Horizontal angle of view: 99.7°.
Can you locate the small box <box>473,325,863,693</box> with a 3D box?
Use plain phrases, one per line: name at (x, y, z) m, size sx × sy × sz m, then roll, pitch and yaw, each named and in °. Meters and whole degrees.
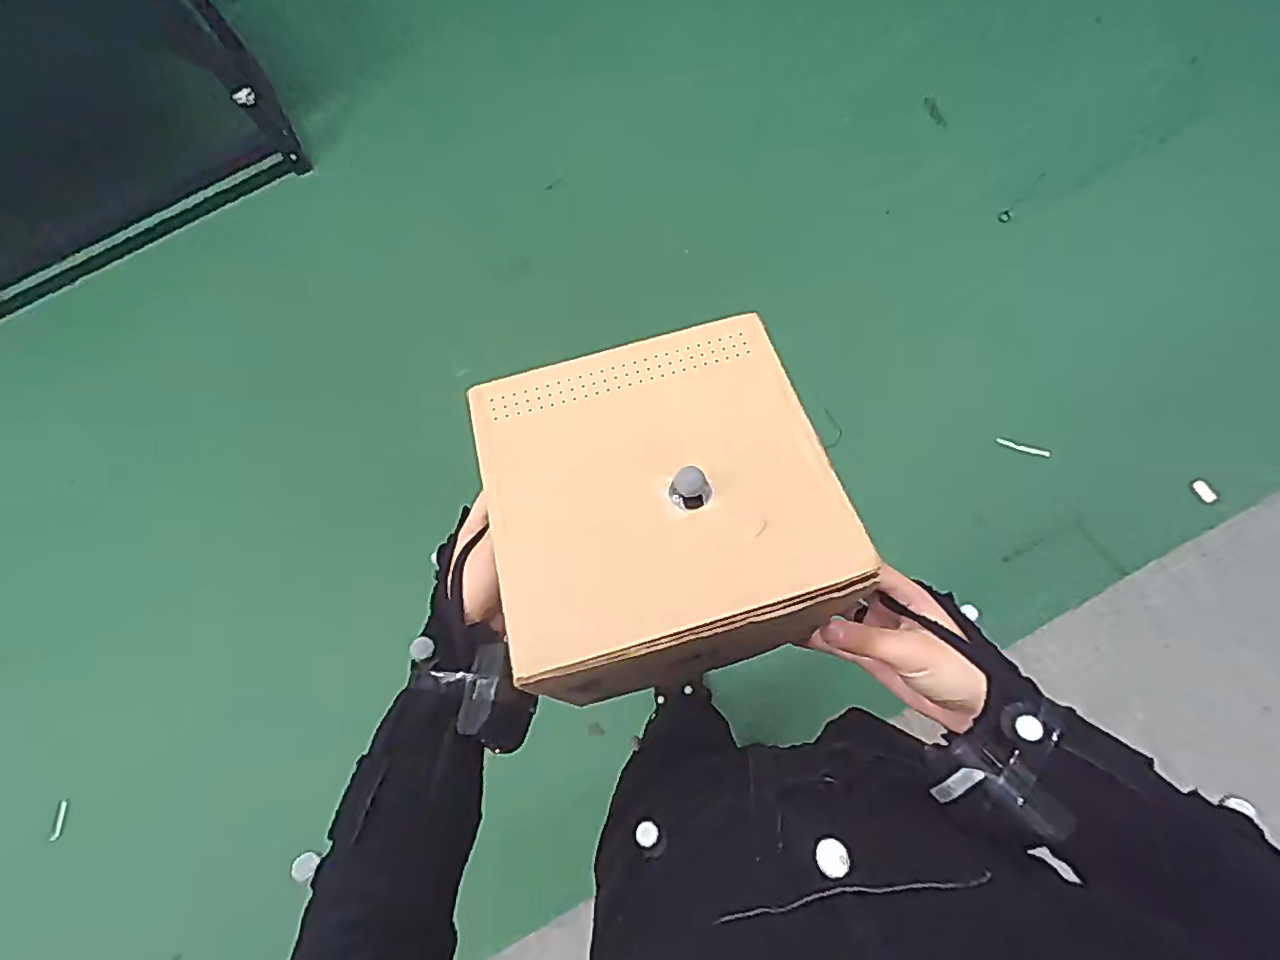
small box at (0.008, 0.025, 0.360) m, size 0.179 × 0.168 × 0.176 m, roll -16°, pitch 63°, yaw -3°
